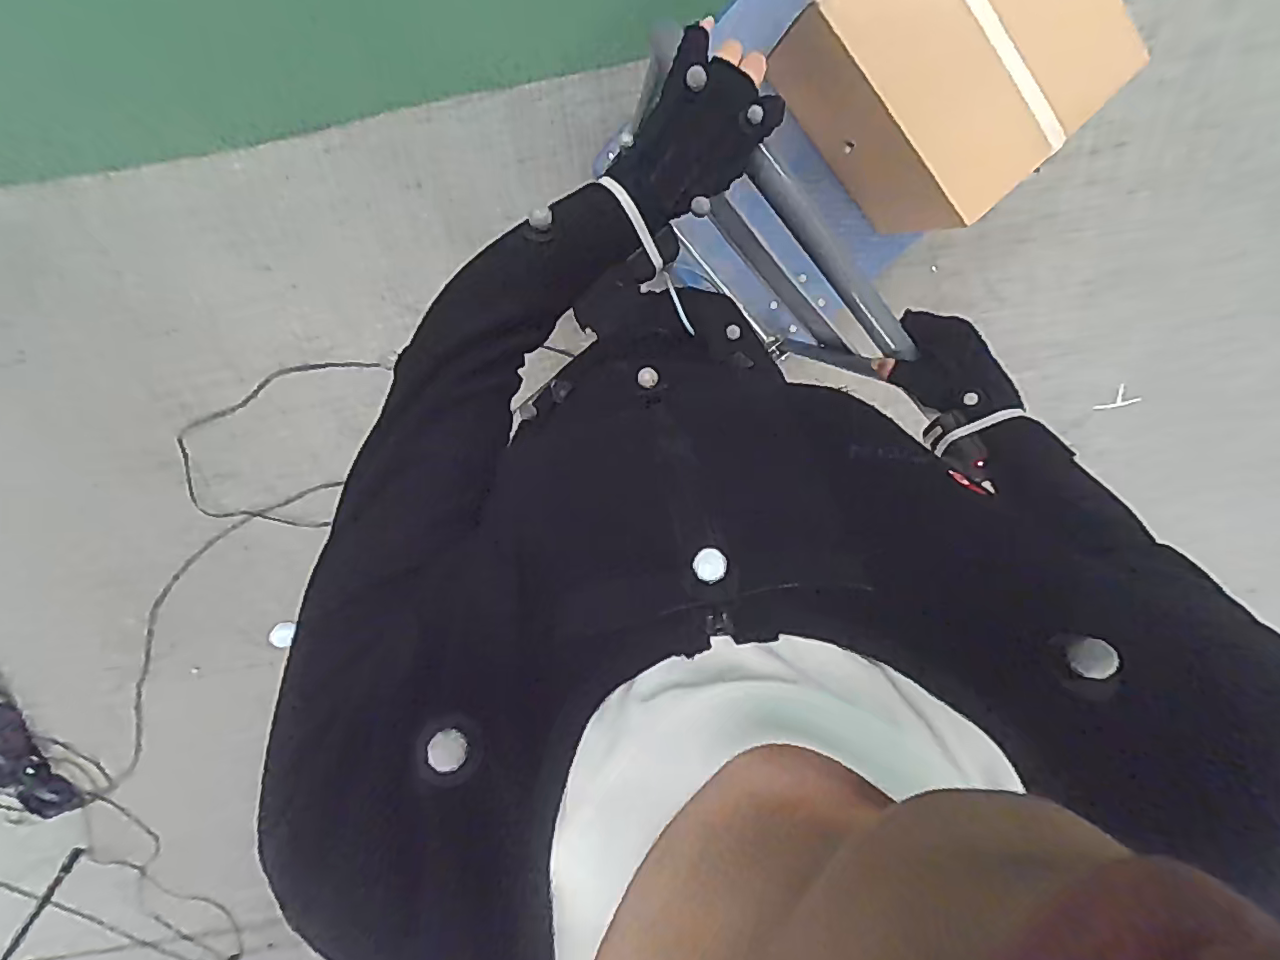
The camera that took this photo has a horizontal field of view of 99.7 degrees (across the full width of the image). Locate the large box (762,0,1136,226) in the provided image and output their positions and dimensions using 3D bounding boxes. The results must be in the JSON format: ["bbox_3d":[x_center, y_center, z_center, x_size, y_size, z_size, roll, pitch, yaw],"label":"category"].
[{"bbox_3d":[0.476,-0.698,0.908,0.408,0.320,0.320,42,104,-17],"label":"large box"}]
